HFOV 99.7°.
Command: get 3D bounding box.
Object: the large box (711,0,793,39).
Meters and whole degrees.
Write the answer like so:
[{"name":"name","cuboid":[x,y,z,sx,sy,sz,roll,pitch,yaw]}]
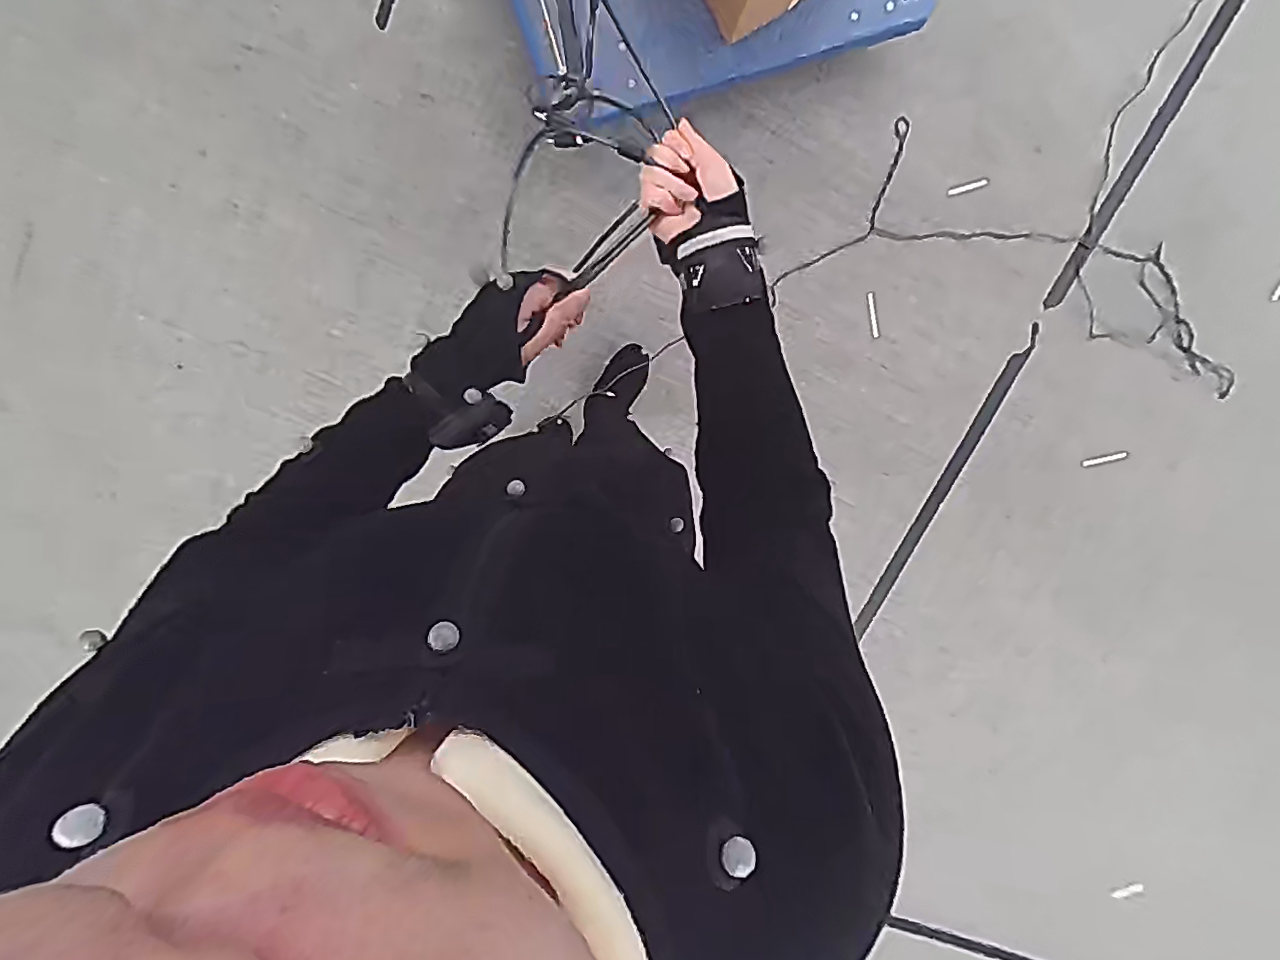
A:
[{"name":"large box","cuboid":[0.227,-1.128,0.940,0.320,0.320,0.408,-31,104,3]}]
